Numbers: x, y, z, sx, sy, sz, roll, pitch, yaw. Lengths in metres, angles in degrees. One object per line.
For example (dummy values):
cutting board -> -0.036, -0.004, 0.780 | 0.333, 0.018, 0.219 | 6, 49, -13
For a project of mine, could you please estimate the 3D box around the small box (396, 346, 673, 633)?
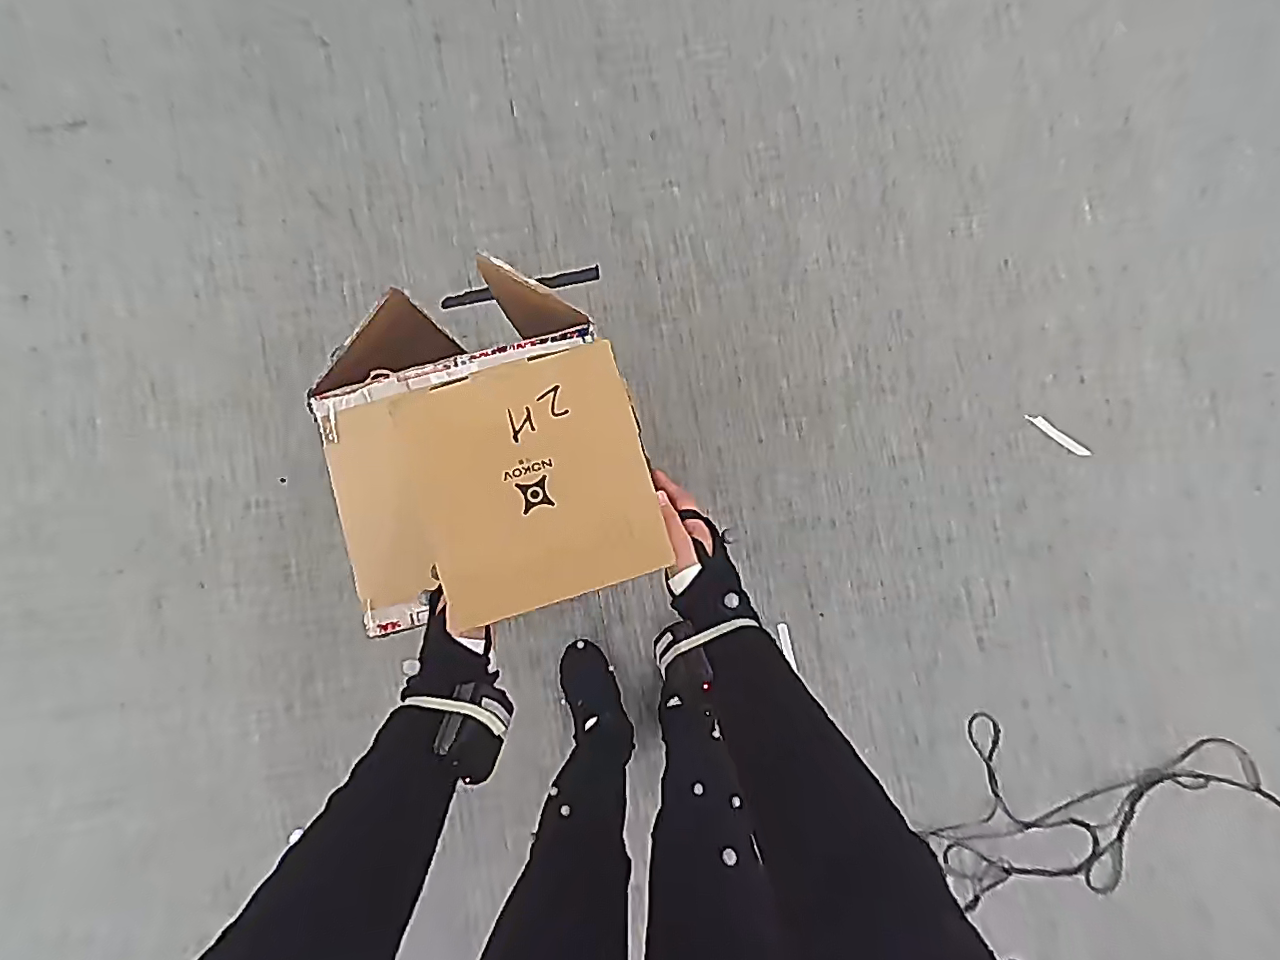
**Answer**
small box -> -0.079, 0.008, 0.472 | 0.168, 0.176, 0.179 | -17, 88, -4
